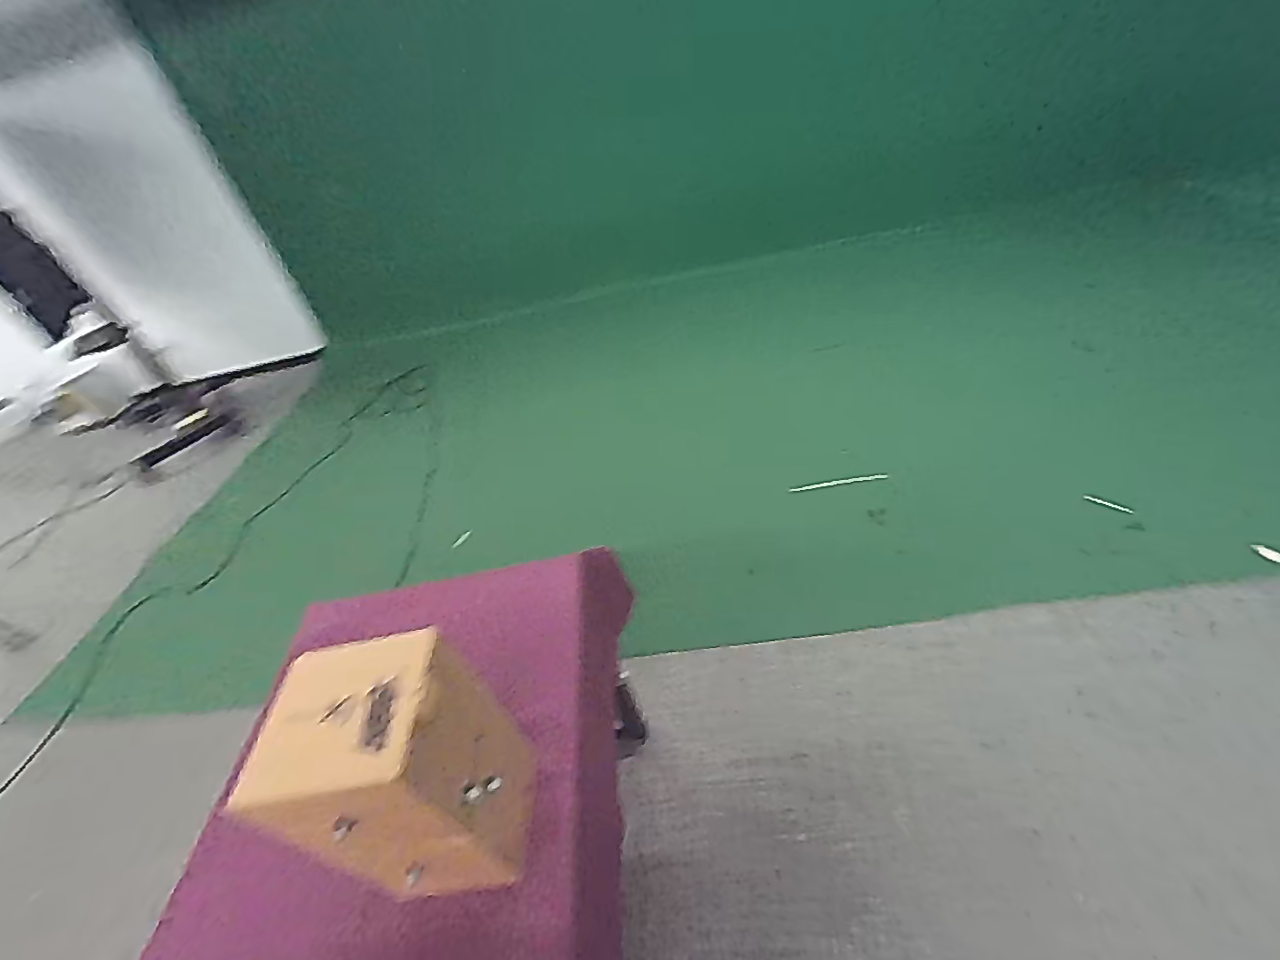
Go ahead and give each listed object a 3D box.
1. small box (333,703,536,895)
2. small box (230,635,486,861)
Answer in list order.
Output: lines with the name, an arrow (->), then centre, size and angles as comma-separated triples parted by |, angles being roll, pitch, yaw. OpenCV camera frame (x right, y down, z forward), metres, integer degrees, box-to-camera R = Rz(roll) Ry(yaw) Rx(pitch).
small box -> -0.256, 0.427, 0.720 | 0.179, 0.176, 0.168 | -13, 41, 6
small box -> -0.294, 0.306, 0.616 | 0.179, 0.176, 0.168 | -13, 40, 5
